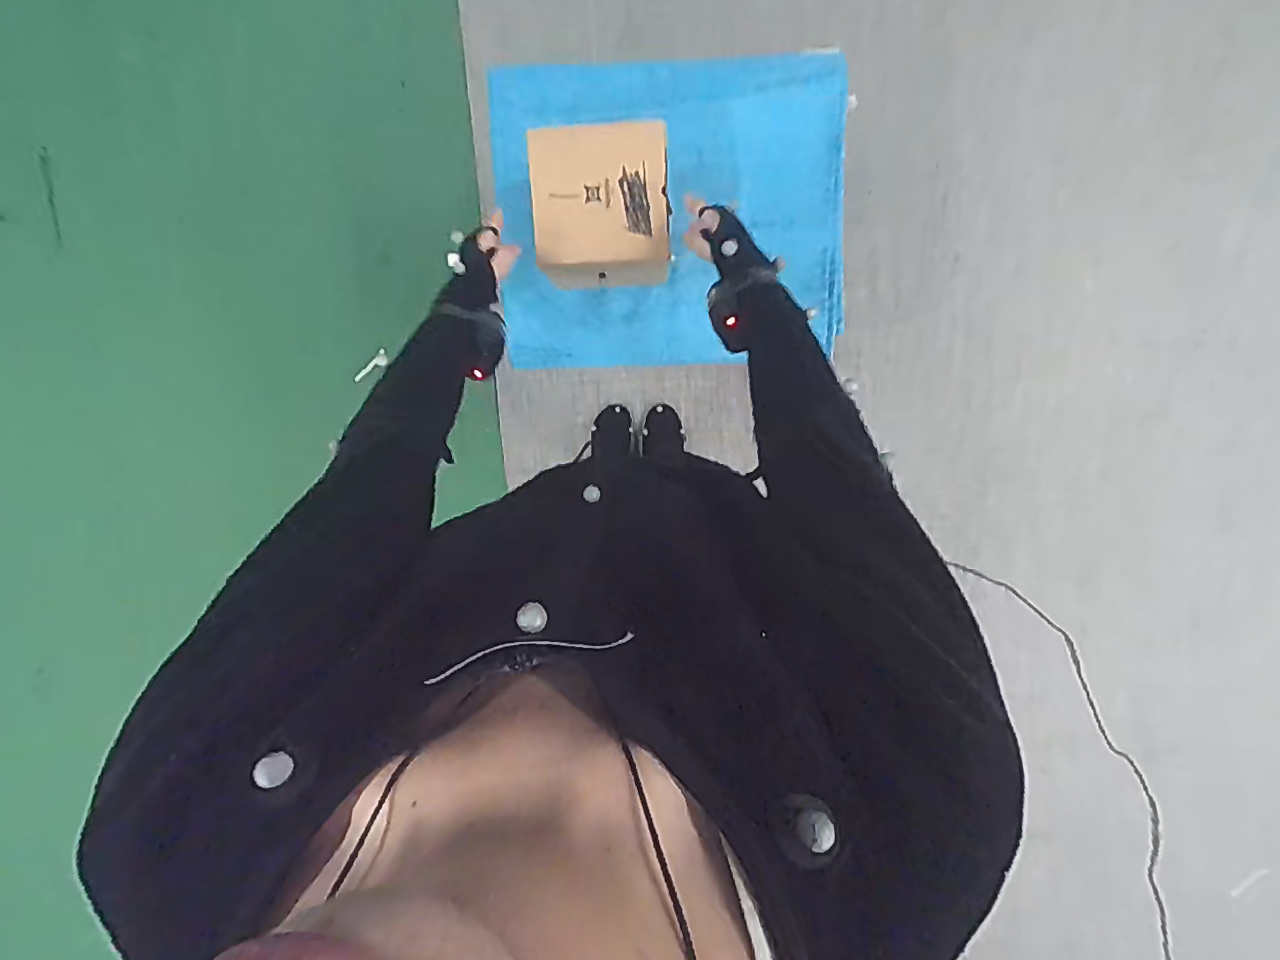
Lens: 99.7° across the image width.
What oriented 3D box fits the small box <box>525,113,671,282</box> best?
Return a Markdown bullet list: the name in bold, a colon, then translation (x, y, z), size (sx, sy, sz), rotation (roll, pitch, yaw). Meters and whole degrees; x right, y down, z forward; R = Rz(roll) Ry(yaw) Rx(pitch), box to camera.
- **small box**: translation (-0.051, -0.378, 0.750), size (0.179, 0.176, 0.168), rotation (-3, 99, 1)
